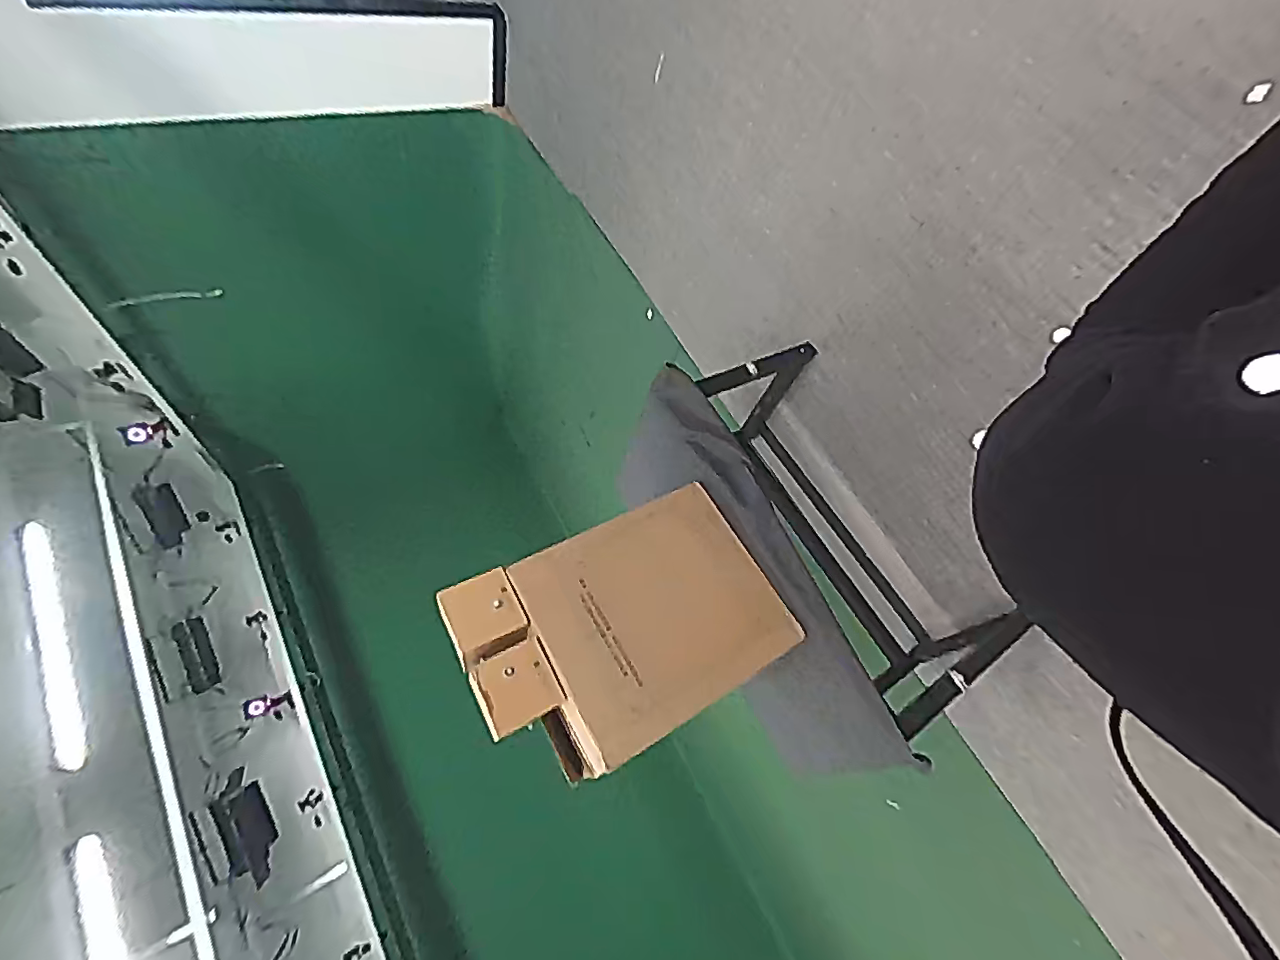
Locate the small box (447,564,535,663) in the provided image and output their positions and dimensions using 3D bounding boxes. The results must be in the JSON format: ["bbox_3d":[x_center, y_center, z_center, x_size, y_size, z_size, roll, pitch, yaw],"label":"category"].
[{"bbox_3d":[-0.381,0.344,1.393,0.168,0.176,0.179,58,152,22],"label":"small box"}]
